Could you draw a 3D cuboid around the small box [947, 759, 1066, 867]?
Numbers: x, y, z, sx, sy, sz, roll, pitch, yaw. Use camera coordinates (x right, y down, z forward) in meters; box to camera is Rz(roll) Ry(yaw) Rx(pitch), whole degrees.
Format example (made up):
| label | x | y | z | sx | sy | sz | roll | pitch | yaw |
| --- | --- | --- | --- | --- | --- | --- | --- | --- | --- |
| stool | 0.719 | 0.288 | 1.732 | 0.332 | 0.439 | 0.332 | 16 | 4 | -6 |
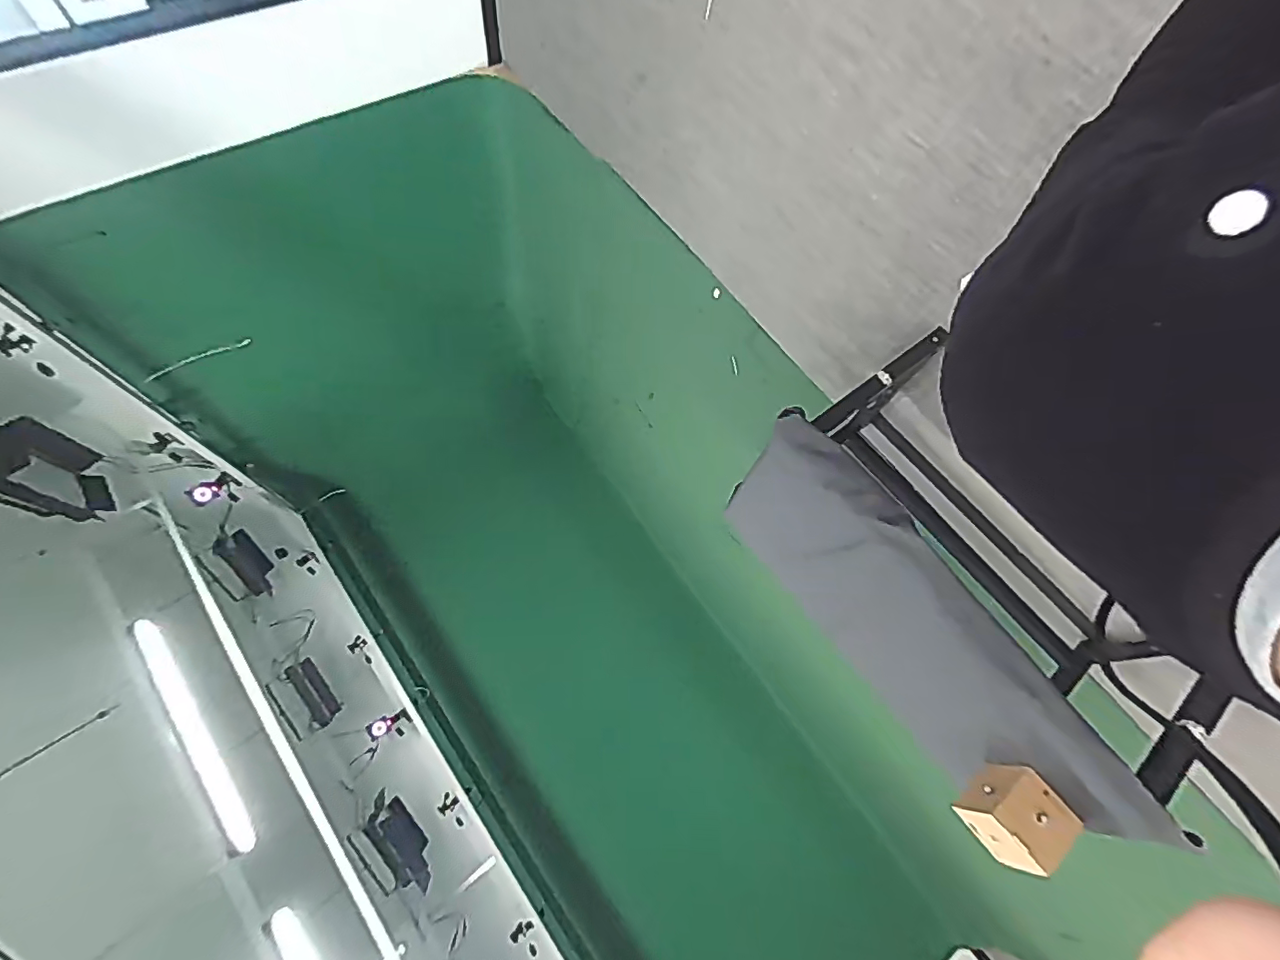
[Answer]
| label | x | y | z | sx | sy | sz | roll | pitch | yaw |
| --- | --- | --- | --- | --- | --- | --- | --- | --- | --- |
| small box | 0.959 | 0.856 | 1.410 | 0.168 | 0.176 | 0.179 | 50 | 159 | 17 |
